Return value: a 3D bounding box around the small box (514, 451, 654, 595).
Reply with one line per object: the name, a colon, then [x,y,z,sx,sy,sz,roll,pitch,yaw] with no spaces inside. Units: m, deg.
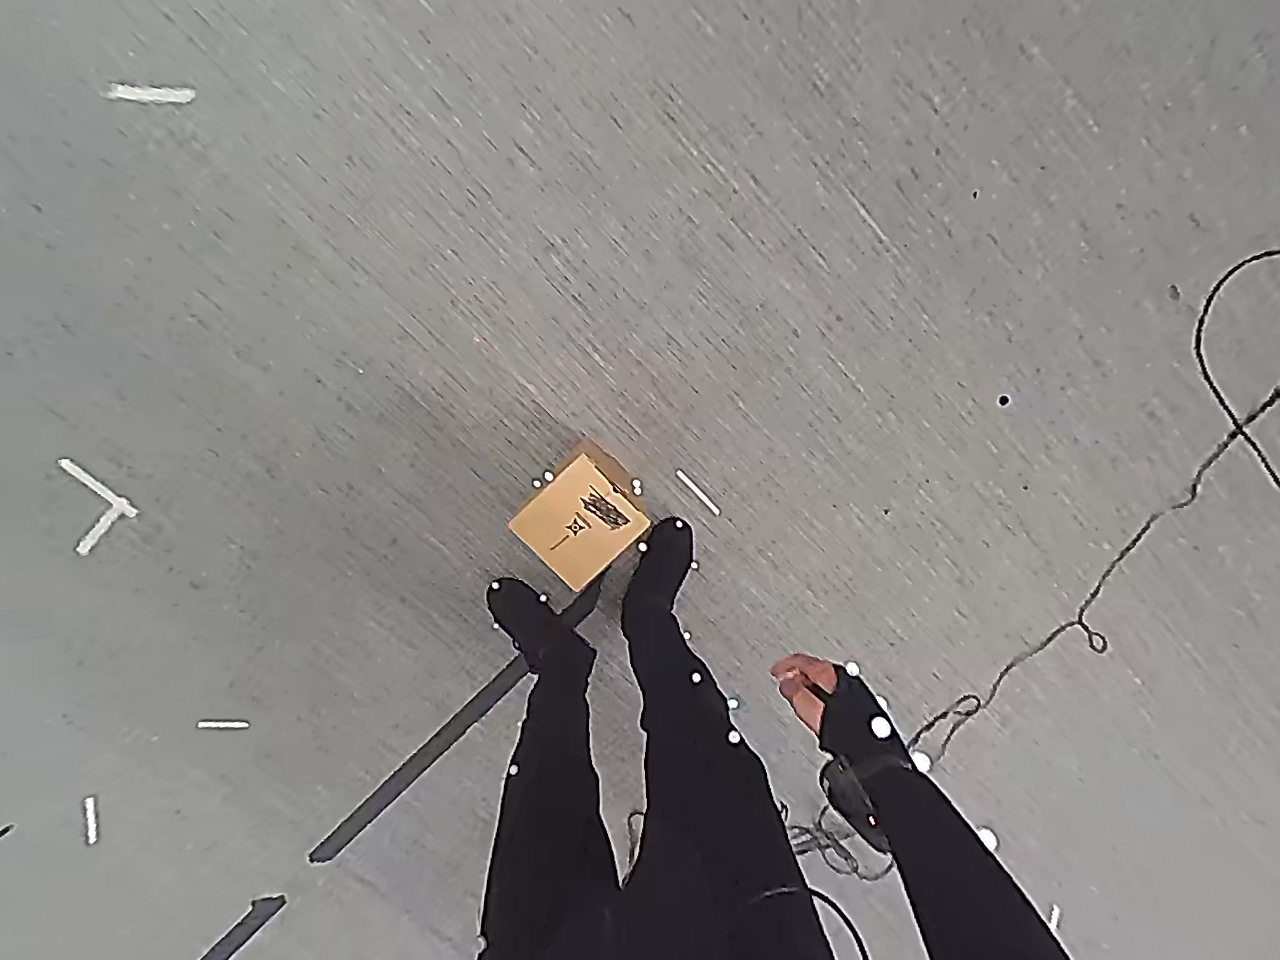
small box: [-0.098,0.066,0.968,0.179,0.176,0.168,-43,99,4]
